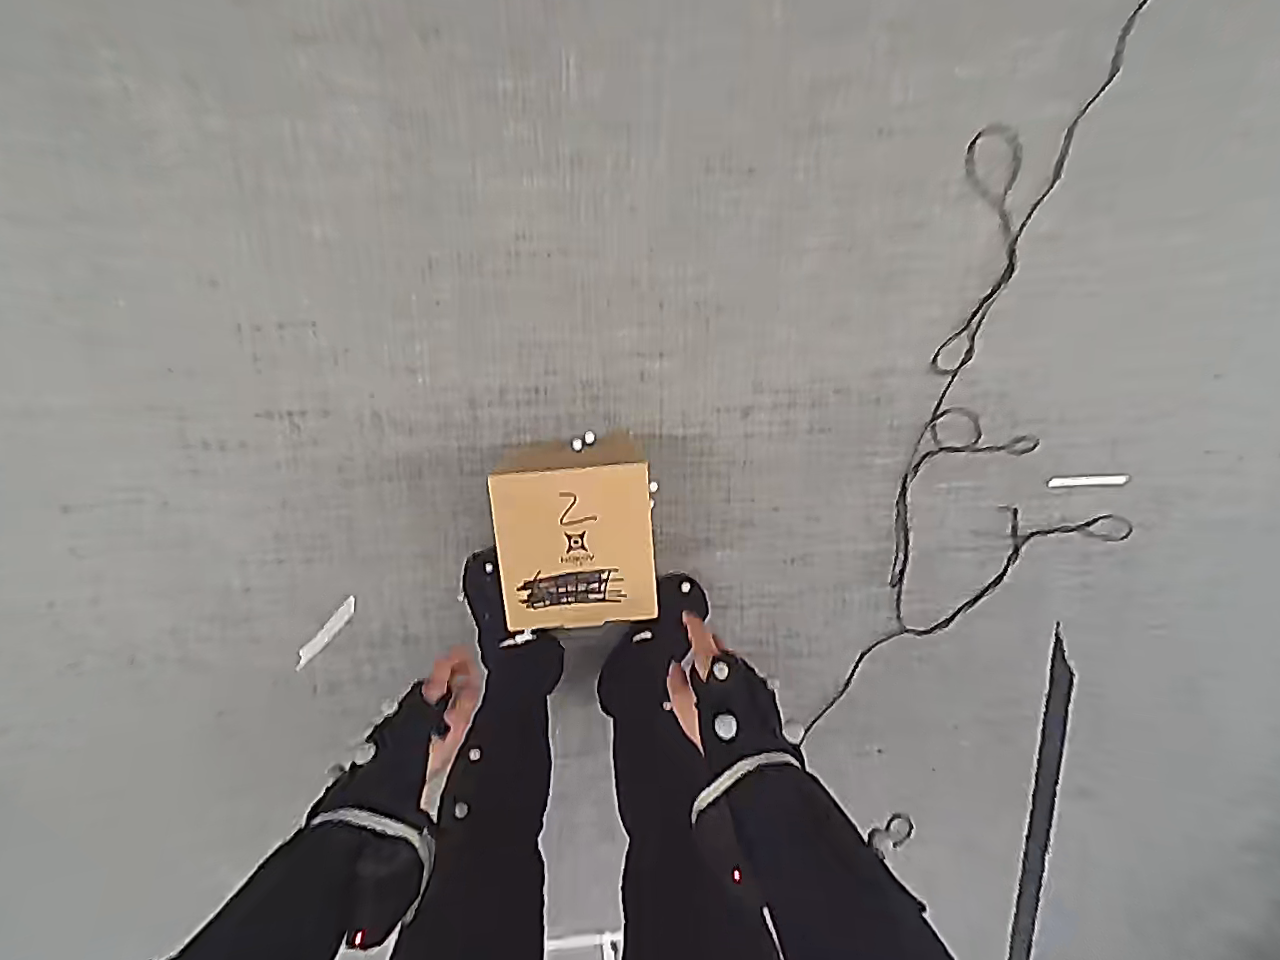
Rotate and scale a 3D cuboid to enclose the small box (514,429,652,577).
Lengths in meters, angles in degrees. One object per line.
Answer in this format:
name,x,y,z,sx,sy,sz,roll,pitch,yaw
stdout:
small box,-0.080,0.022,0.805,0.168,0.176,0.179,-10,102,-2
